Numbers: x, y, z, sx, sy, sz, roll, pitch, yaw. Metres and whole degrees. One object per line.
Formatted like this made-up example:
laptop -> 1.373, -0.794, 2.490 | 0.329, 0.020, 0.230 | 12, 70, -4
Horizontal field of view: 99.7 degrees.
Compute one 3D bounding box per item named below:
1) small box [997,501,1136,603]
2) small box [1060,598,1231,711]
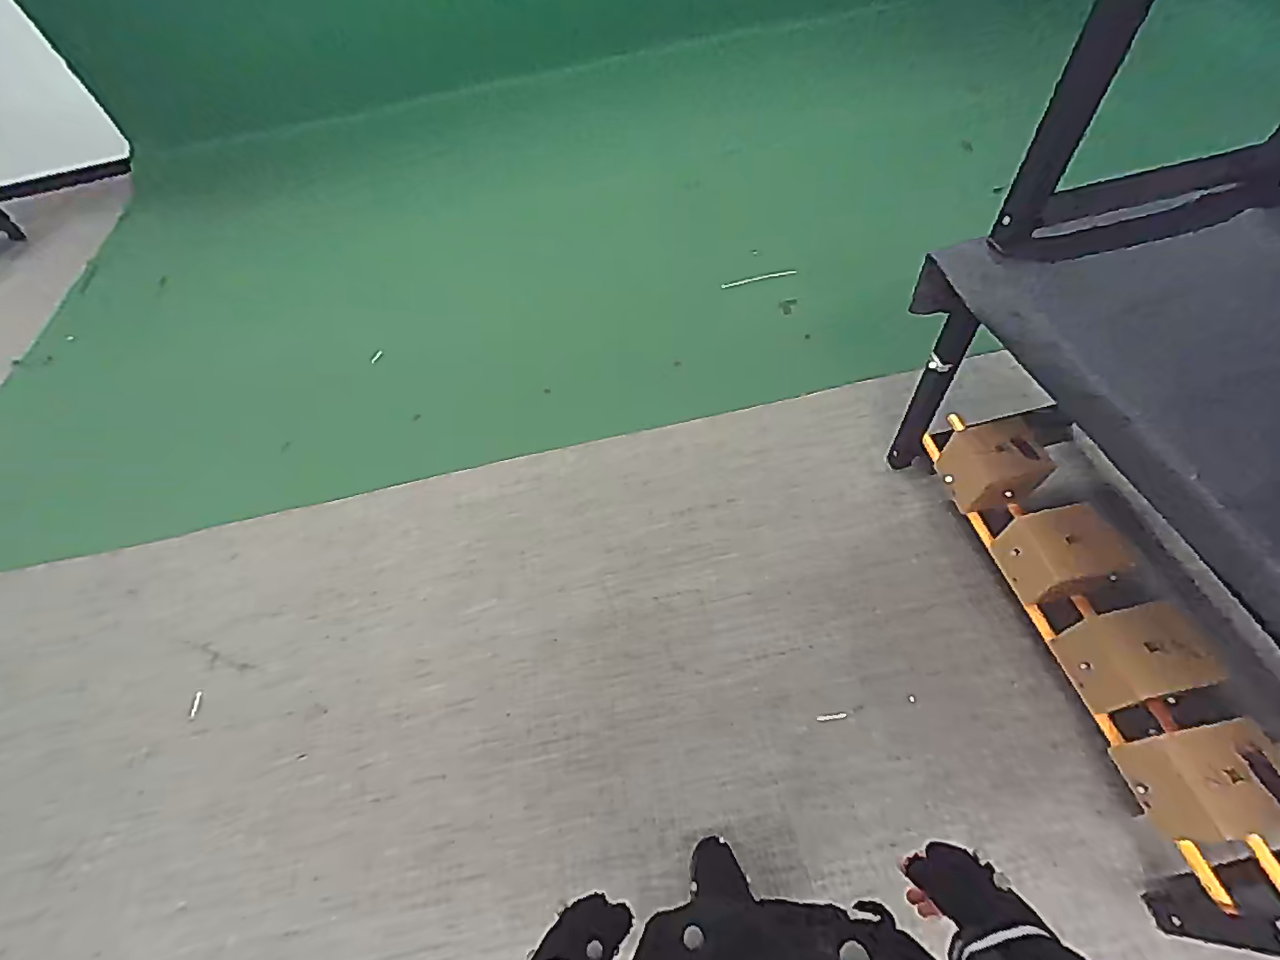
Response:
small box -> 0.981, 0.175, 1.272 | 0.179, 0.176, 0.168 | -13, 57, 1
small box -> 1.032, 0.371, 1.133 | 0.179, 0.176, 0.168 | -14, 57, 0
